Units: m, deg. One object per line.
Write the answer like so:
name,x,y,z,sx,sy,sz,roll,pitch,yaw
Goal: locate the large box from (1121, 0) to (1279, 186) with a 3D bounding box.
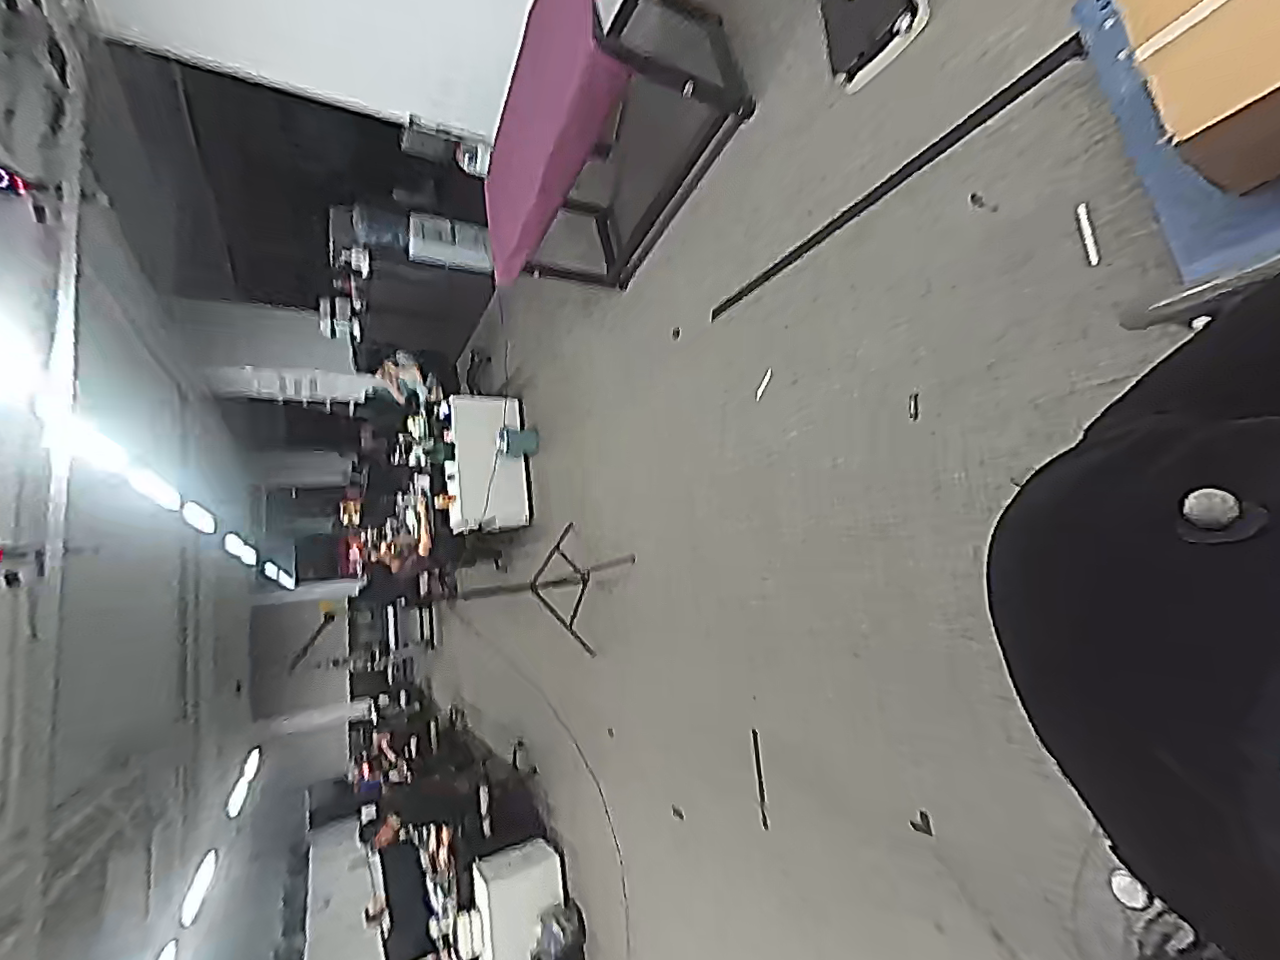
large box,0.985,-0.690,0.718,0.408,0.320,0.320,-27,67,58
